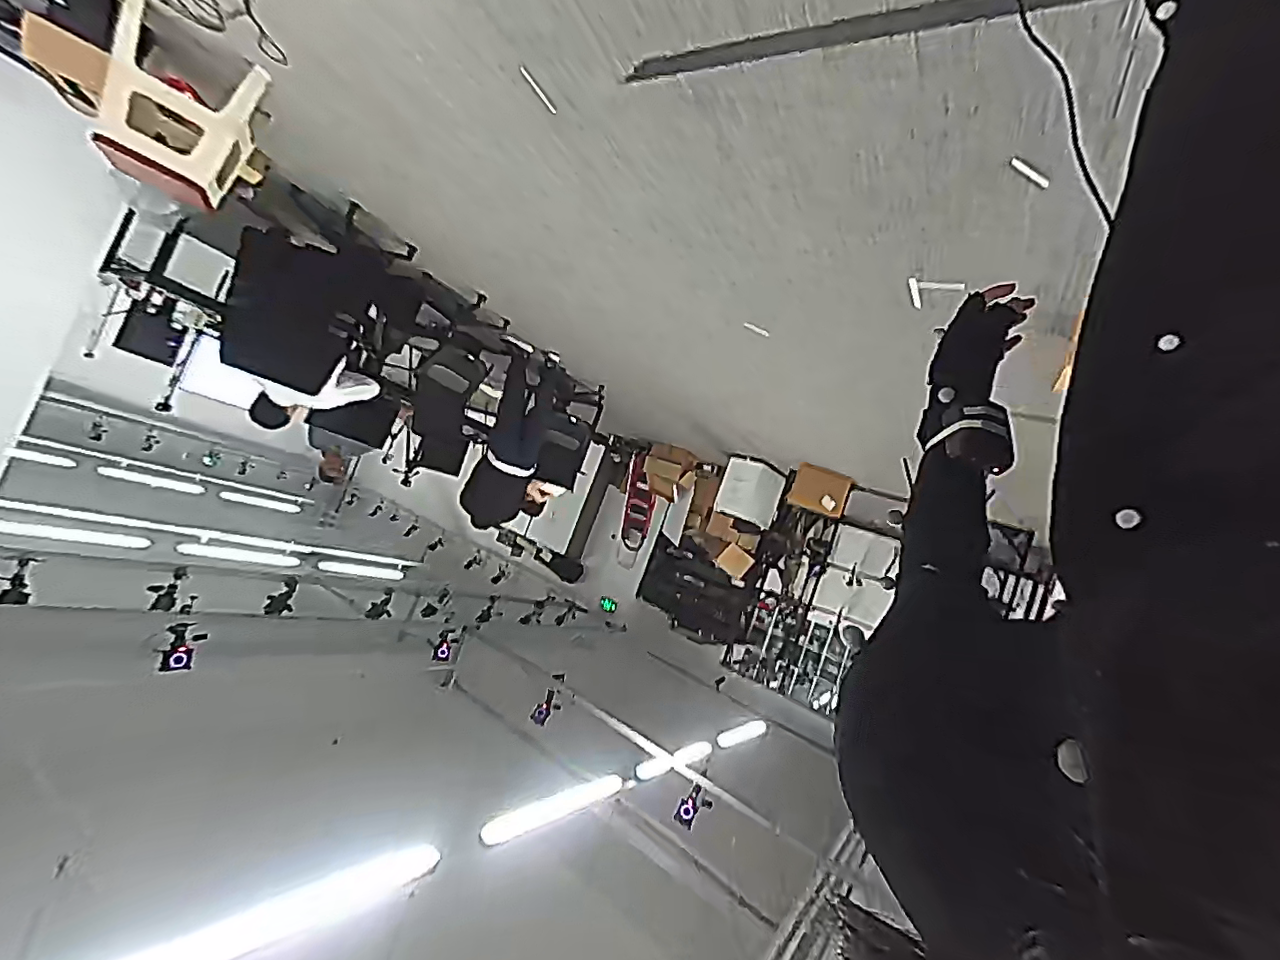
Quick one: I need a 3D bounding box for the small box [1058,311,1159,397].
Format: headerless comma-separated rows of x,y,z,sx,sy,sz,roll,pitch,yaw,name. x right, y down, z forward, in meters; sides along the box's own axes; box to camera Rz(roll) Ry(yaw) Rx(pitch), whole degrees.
1.351,-0.364,1.564,0.168,0.176,0.179,18,176,30,small box
